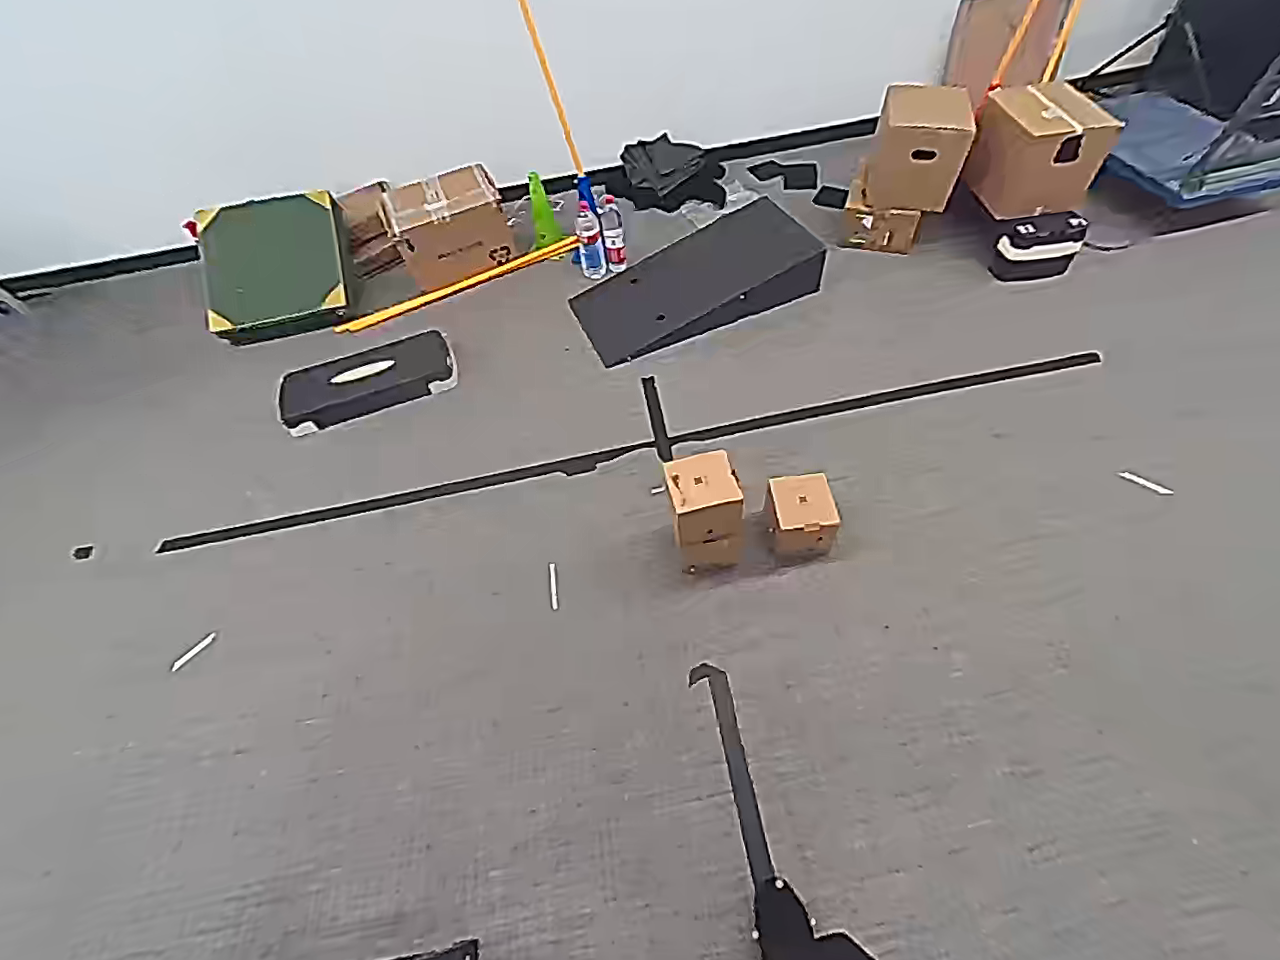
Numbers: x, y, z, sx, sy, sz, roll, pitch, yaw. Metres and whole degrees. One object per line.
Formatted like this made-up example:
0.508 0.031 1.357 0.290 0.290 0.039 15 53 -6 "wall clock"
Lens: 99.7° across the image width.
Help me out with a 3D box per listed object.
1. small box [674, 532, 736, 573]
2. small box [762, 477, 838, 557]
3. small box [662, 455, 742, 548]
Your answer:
0.181 0.157 1.578 0.168 0.176 0.179 -9 53 0 "small box"
0.460 0.115 1.580 0.168 0.176 0.179 -6 53 1 "small box"
0.160 0.060 1.447 0.179 0.176 0.168 -12 53 -4 "small box"
